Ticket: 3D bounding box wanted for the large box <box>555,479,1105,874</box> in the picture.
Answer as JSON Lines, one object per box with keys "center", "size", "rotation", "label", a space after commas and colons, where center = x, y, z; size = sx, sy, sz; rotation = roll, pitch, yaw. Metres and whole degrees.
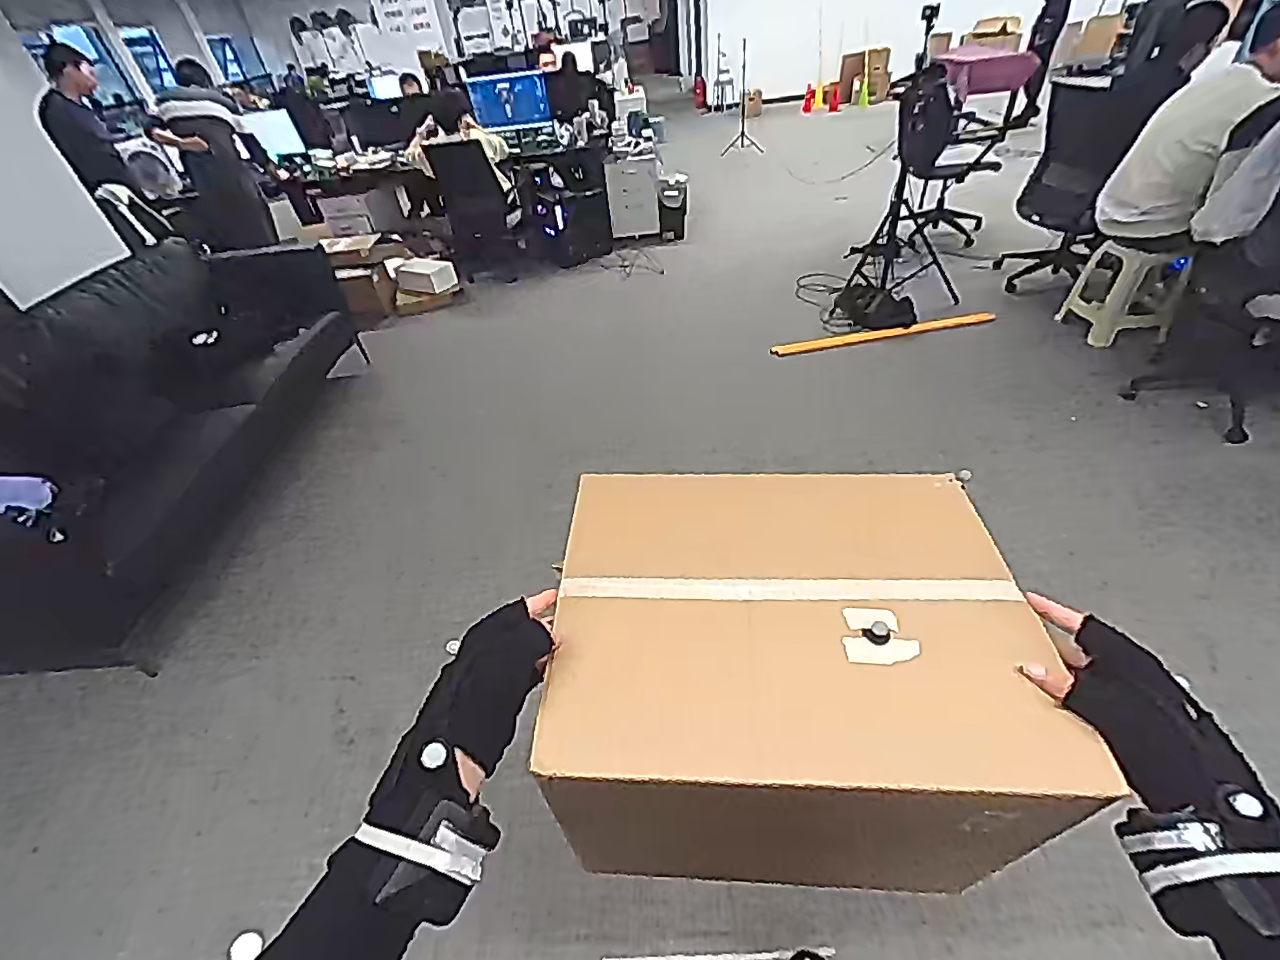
{"center": [0.141, 0.212, 0.597], "size": [0.408, 0.320, 0.320], "rotation": [0, 44, 3], "label": "large box"}
